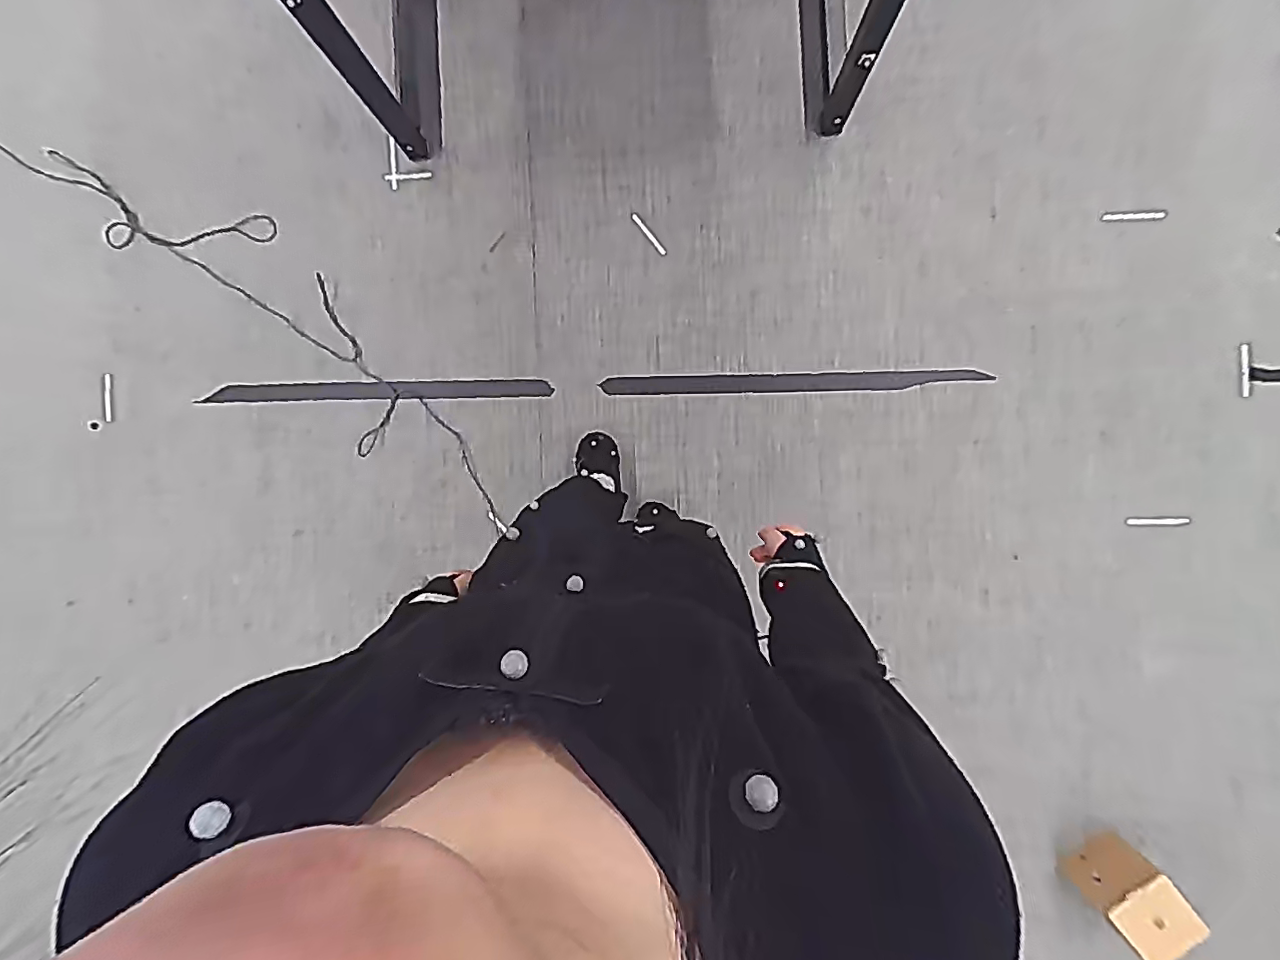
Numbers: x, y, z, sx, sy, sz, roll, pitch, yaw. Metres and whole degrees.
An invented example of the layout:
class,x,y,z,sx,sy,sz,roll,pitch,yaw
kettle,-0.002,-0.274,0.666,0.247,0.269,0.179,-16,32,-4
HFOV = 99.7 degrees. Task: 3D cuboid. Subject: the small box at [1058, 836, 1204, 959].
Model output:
class,x,y,z,sx,sy,sz,roll,pitch,yaw
small box,1.217,1.042,1.357,0.168,0.176,0.179,-39,89,3
